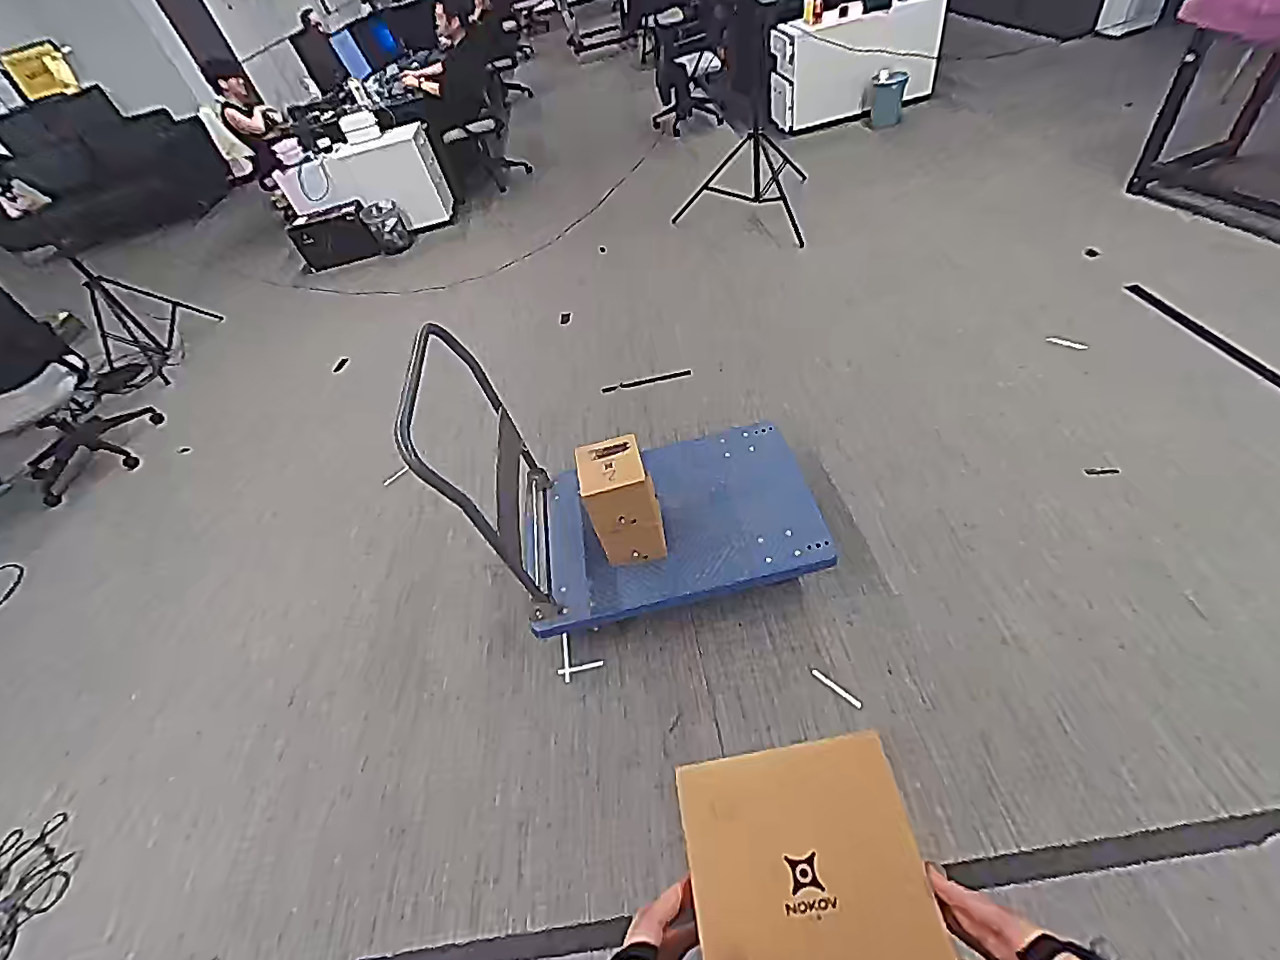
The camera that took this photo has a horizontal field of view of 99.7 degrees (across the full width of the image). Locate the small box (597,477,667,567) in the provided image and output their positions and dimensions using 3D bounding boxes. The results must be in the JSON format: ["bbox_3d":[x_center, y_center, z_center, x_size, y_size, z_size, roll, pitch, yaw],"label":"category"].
[{"bbox_3d":[-0.022,0.122,1.544,0.168,0.176,0.179,-12,47,5],"label":"small box"}]
